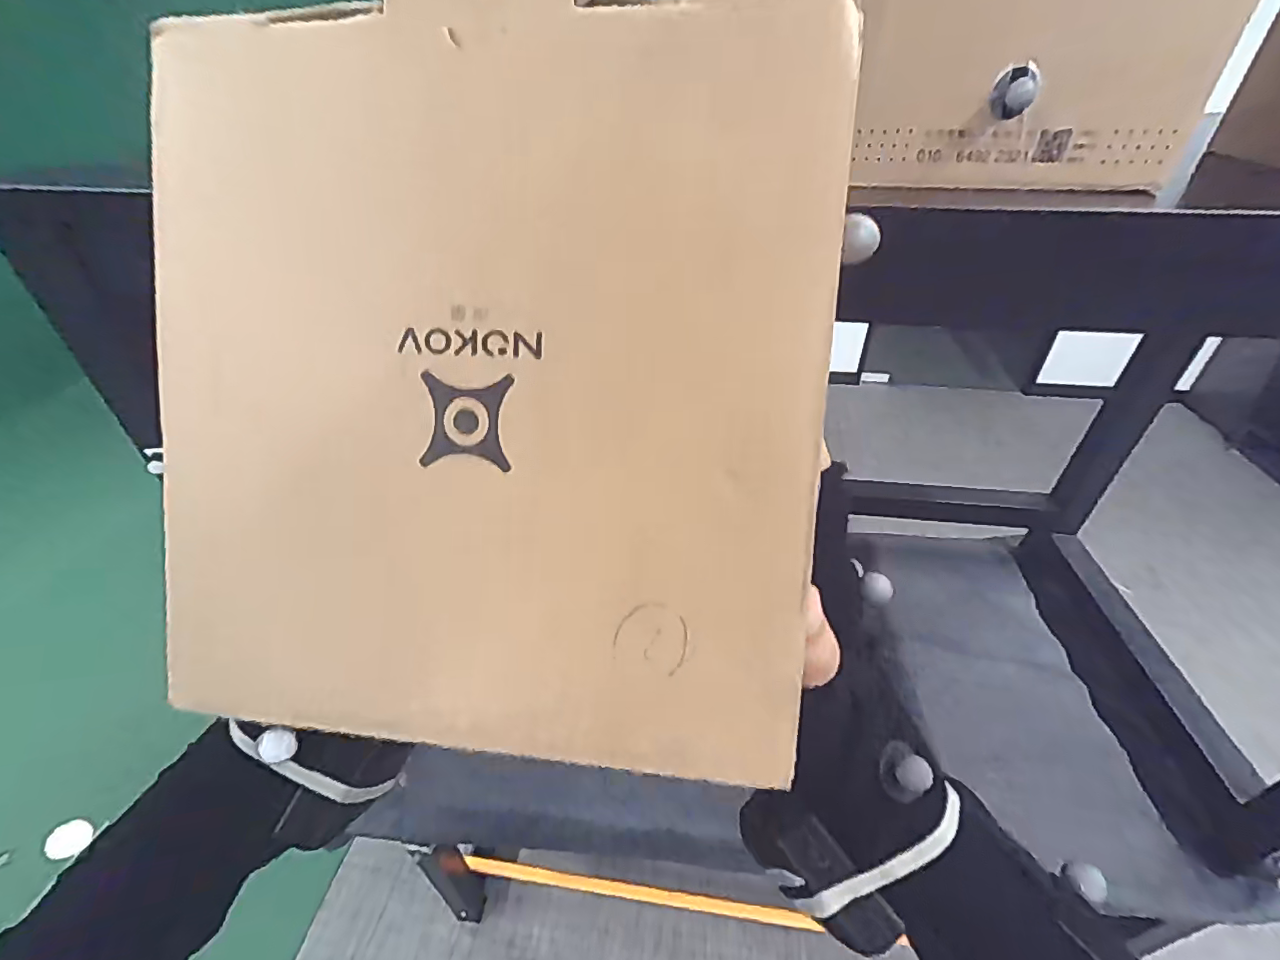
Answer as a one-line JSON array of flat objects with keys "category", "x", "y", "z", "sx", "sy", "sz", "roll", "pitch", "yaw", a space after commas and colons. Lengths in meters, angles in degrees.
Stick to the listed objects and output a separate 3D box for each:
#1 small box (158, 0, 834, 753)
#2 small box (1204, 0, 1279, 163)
[{"category": "small box", "x": -0.032, "y": -0.031, "z": 0.212, "sx": 0.168, "sy": 0.179, "sz": 0.176, "roll": 3, "pitch": 5, "yaw": 7}, {"category": "small box", "x": 0.468, "y": -0.257, "z": 0.275, "sx": 0.168, "sy": 0.176, "sz": 0.179, "roll": 10, "pitch": 38, "yaw": 14}]
